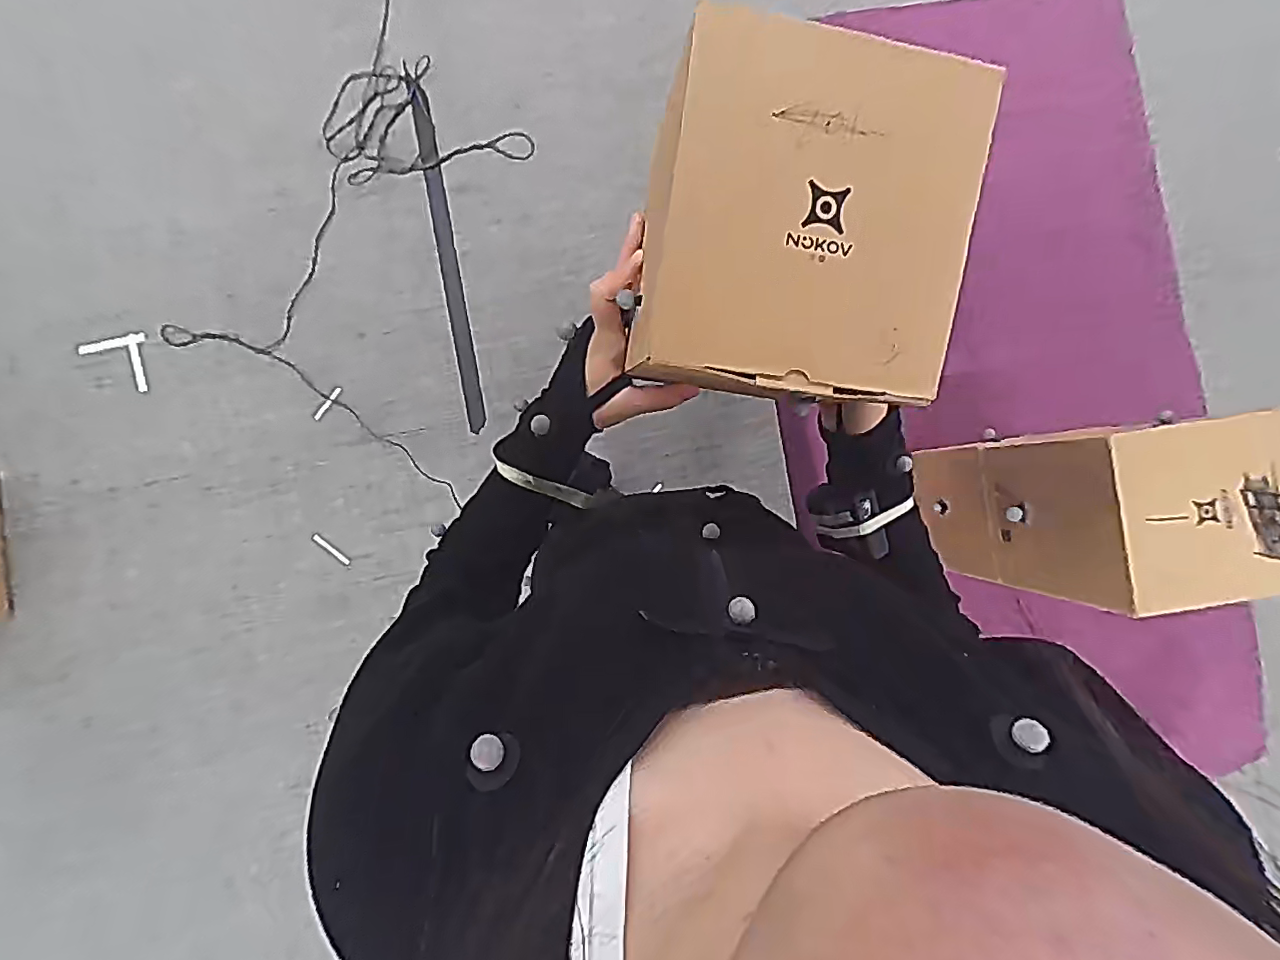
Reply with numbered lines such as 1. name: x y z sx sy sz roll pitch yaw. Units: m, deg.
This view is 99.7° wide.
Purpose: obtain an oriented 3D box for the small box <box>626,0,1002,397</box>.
1. small box: 0.086 -0.151 0.356 0.168 0.176 0.179 6 97 -8

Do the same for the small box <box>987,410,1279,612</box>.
1. small box: 0.505 0.025 0.559 0.179 0.176 0.168 -8 90 -3

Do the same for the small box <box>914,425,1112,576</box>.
1. small box: 0.491 0.025 0.723 0.179 0.176 0.168 -8 90 -4
